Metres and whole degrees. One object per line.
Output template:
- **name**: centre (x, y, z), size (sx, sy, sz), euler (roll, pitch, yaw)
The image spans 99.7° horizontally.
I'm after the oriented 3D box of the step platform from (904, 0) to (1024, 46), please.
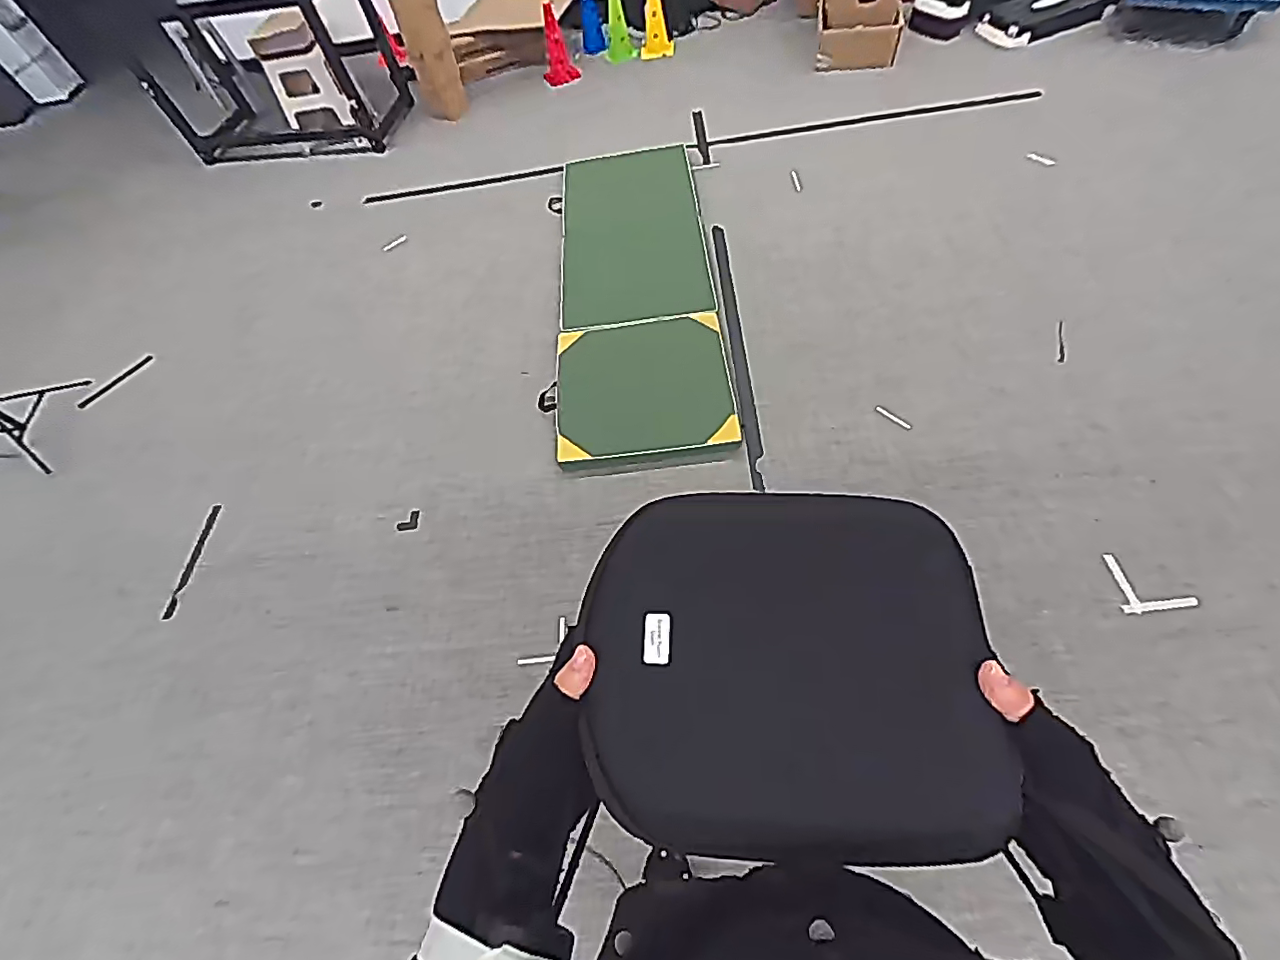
- **step platform**: centre (1.814, -2.651, 2.977), size (0.684, 0.204, 0.286), euler (-31, 60, -10)
